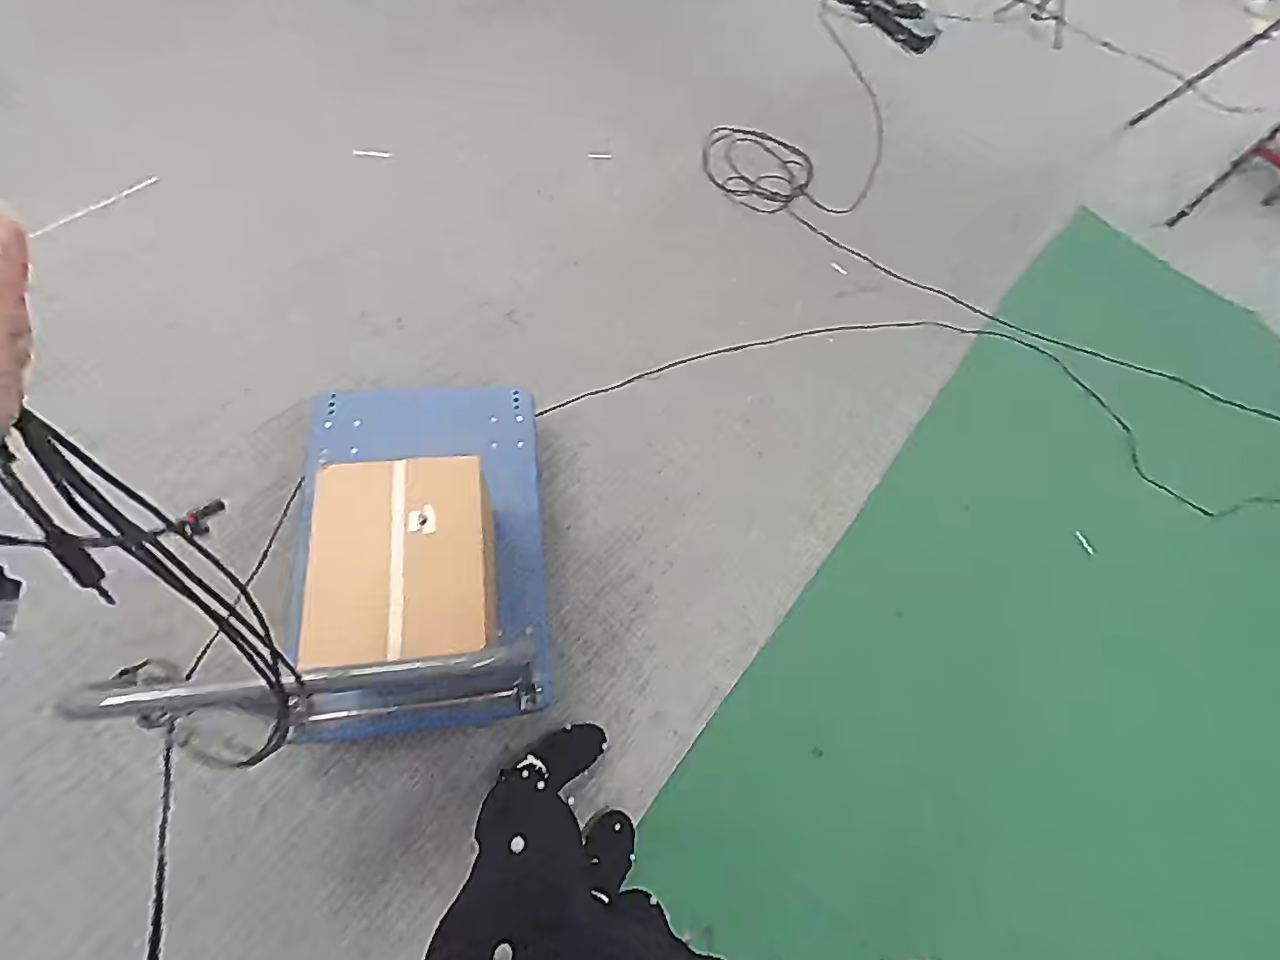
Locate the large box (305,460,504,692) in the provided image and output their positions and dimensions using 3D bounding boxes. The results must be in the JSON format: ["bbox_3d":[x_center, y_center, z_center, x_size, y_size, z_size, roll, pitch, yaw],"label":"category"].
[{"bbox_3d":[-0.472,0.211,1.157,0.320,0.320,0.408,-4,66,-12],"label":"large box"}]
